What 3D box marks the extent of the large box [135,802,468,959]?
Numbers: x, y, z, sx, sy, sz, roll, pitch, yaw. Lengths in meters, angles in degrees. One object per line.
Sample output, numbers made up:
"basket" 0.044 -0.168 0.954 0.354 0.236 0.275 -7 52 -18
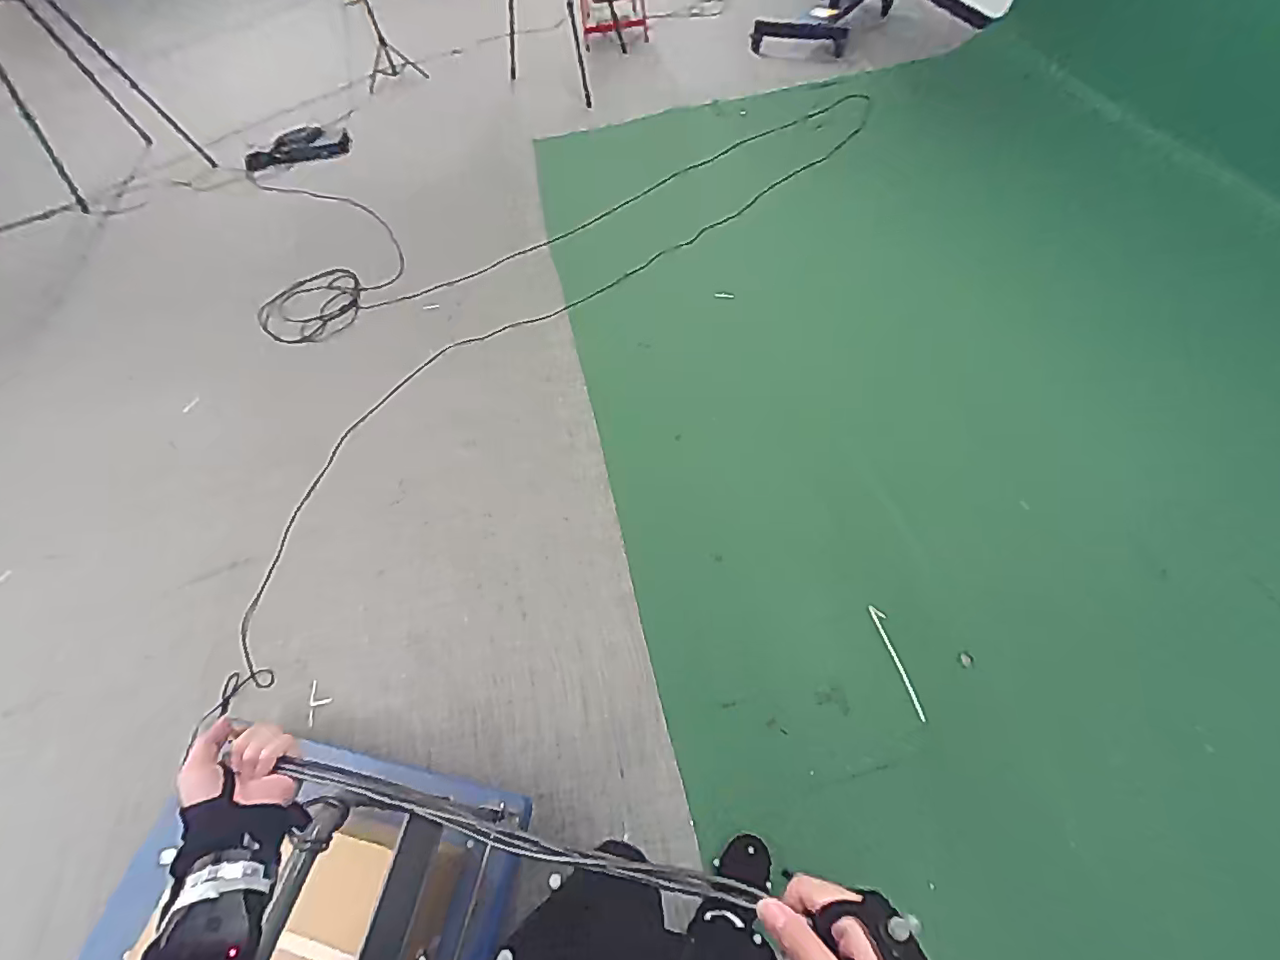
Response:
"large box" -0.608 0.832 1.022 0.408 0.320 0.320 7 57 13
